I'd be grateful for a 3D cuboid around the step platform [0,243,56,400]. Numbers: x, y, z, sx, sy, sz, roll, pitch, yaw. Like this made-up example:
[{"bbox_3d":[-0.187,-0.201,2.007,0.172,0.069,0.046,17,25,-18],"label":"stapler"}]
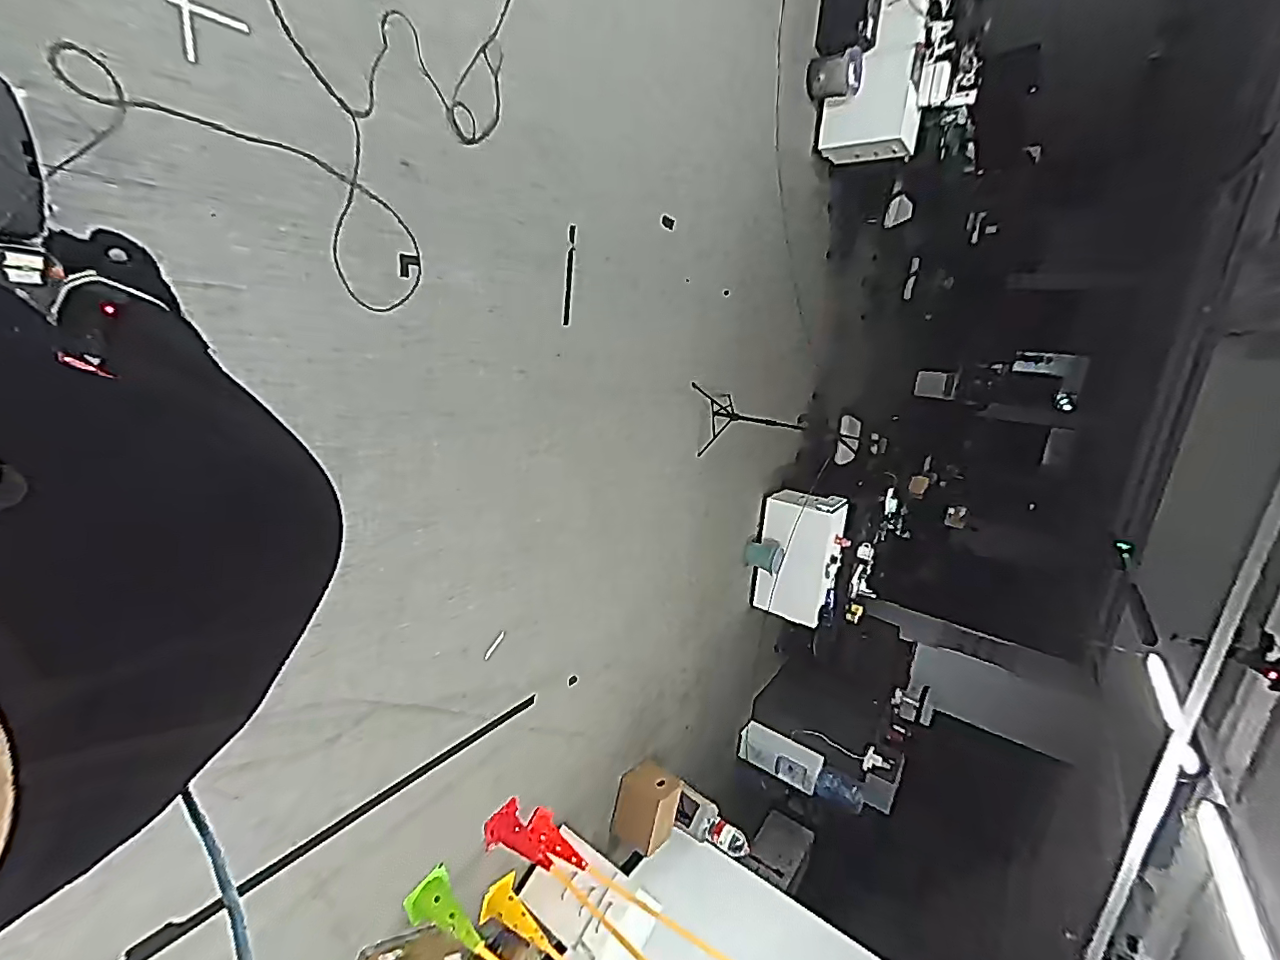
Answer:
[{"bbox_3d":[-1.375,-0.248,0.805,0.684,0.204,0.286,-17,116,-50],"label":"step platform"}]
